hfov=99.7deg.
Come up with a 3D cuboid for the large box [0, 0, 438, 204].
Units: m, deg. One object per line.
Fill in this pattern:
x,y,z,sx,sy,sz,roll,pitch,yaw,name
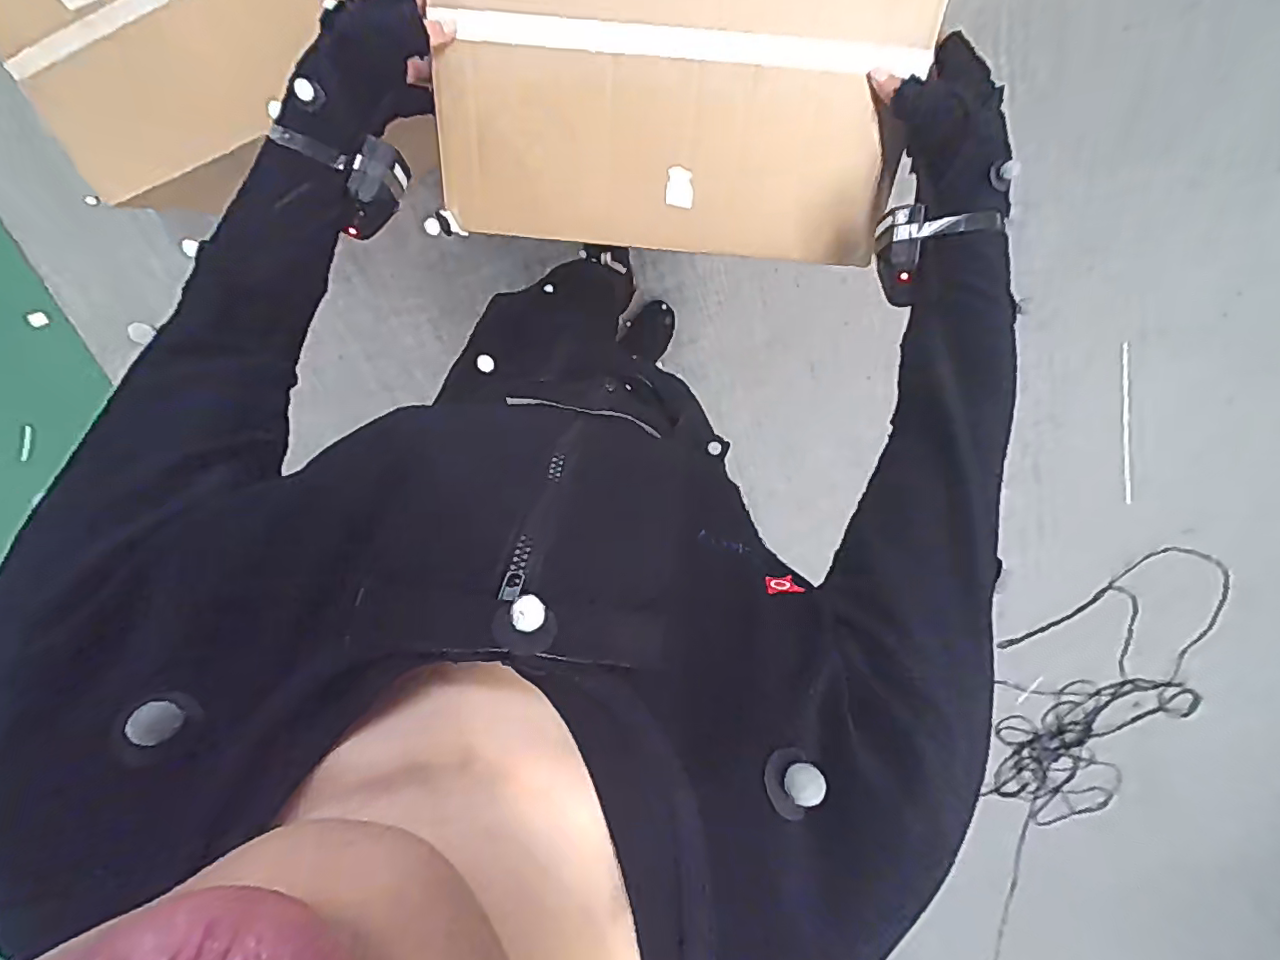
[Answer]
-0.578,-0.625,0.766,0.408,0.320,0.320,-18,114,8,large box
